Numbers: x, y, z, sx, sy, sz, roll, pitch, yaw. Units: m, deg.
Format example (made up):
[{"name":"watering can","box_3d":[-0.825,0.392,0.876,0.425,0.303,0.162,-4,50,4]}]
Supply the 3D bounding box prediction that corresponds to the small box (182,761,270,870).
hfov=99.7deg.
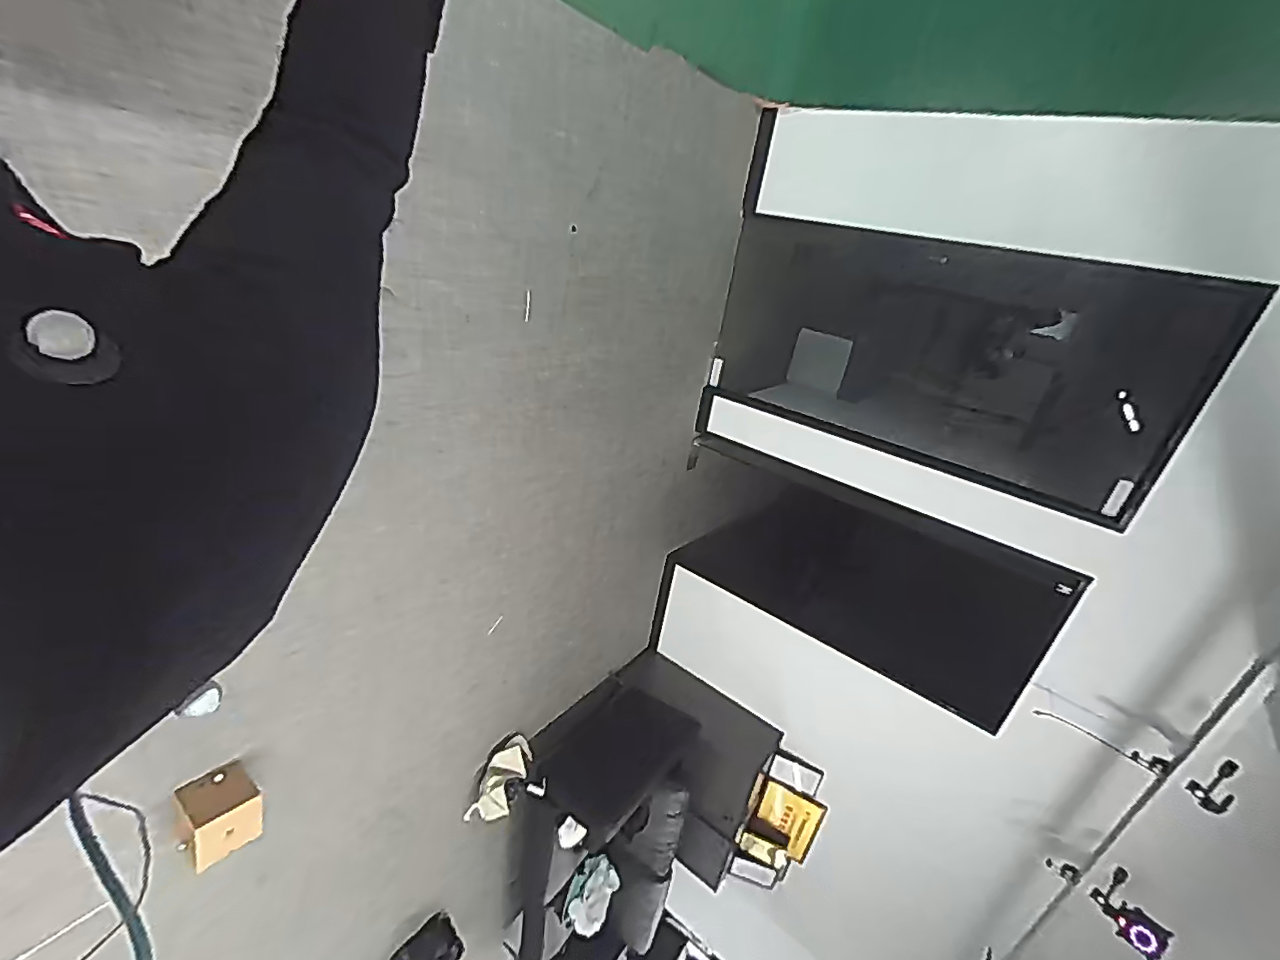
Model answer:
[{"name":"small box","box_3d":[-1.230,0.988,1.608,0.168,0.176,0.179,-15,124,-54]}]
